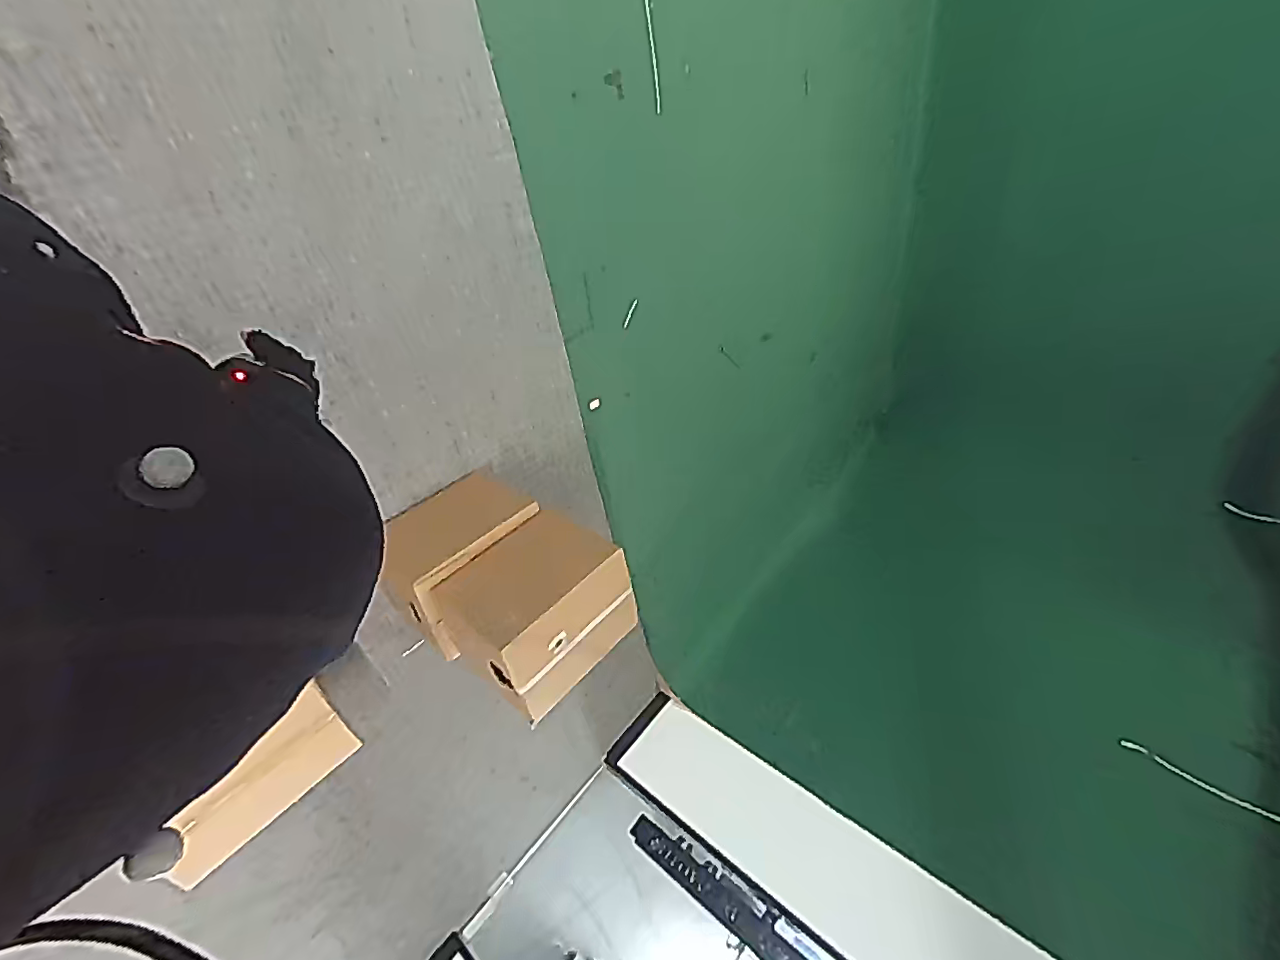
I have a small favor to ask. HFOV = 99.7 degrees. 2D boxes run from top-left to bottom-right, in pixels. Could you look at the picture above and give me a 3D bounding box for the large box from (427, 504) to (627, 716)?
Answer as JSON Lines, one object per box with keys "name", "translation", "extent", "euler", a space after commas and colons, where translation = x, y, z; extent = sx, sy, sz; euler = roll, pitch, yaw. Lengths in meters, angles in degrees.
{"name": "large box", "translation": [-0.291, 0.335, 1.484], "extent": [0.408, 0.320, 0.320], "euler": [-37, 136, -33]}
